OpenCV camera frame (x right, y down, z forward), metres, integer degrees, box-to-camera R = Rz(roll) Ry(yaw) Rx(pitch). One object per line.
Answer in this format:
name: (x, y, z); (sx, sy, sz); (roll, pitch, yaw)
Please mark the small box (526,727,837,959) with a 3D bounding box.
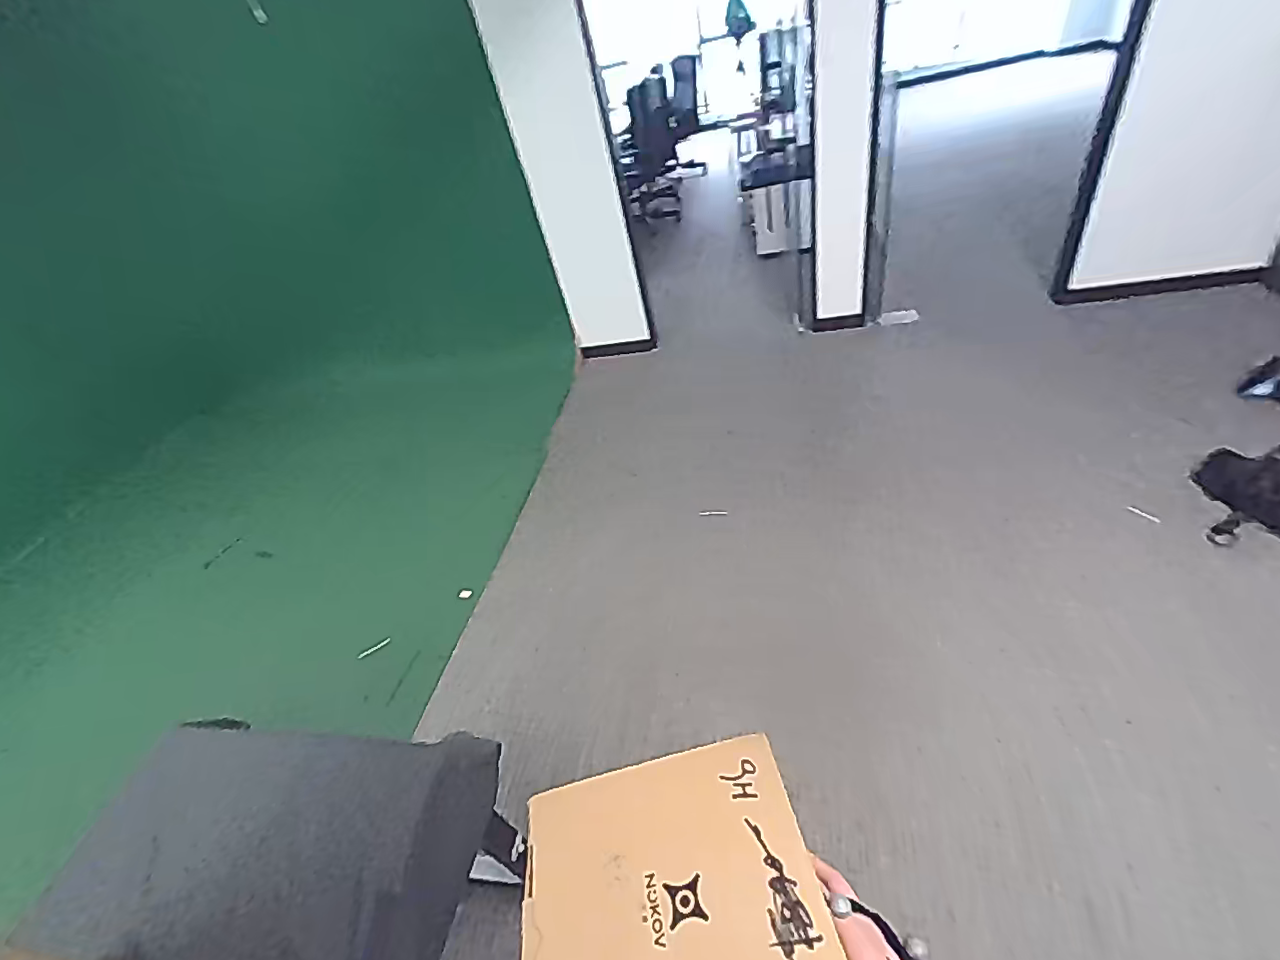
small box: (0.032, 0.307, 0.376); (0.179, 0.176, 0.168); (-14, 39, 1)
